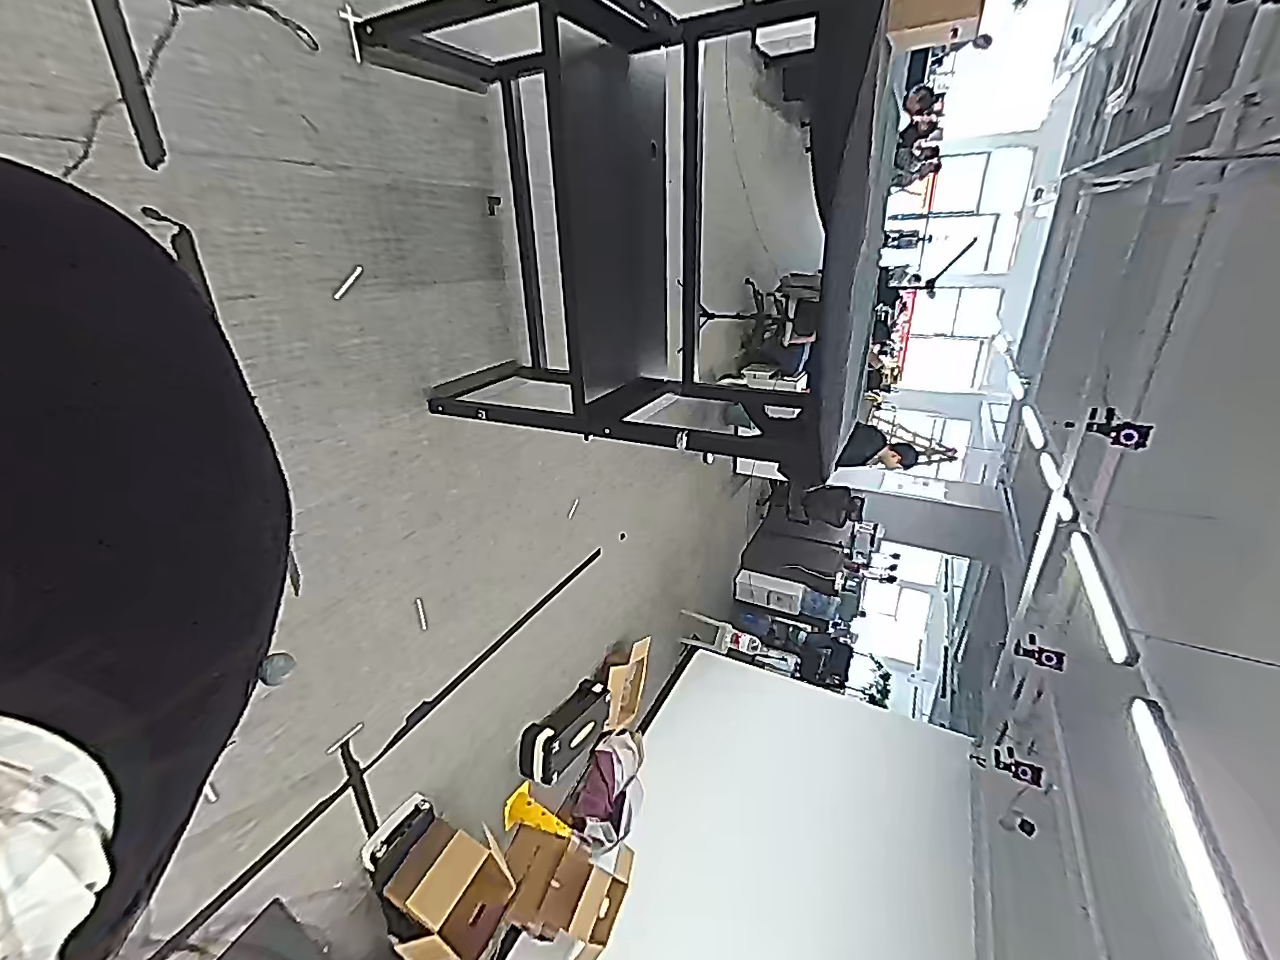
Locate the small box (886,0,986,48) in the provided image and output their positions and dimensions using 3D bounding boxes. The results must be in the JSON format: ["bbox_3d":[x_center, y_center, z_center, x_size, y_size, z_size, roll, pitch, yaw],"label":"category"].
[{"bbox_3d":[0.592,-0.982,1.067,0.179,0.176,0.168,-42,136,-52],"label":"small box"}]
